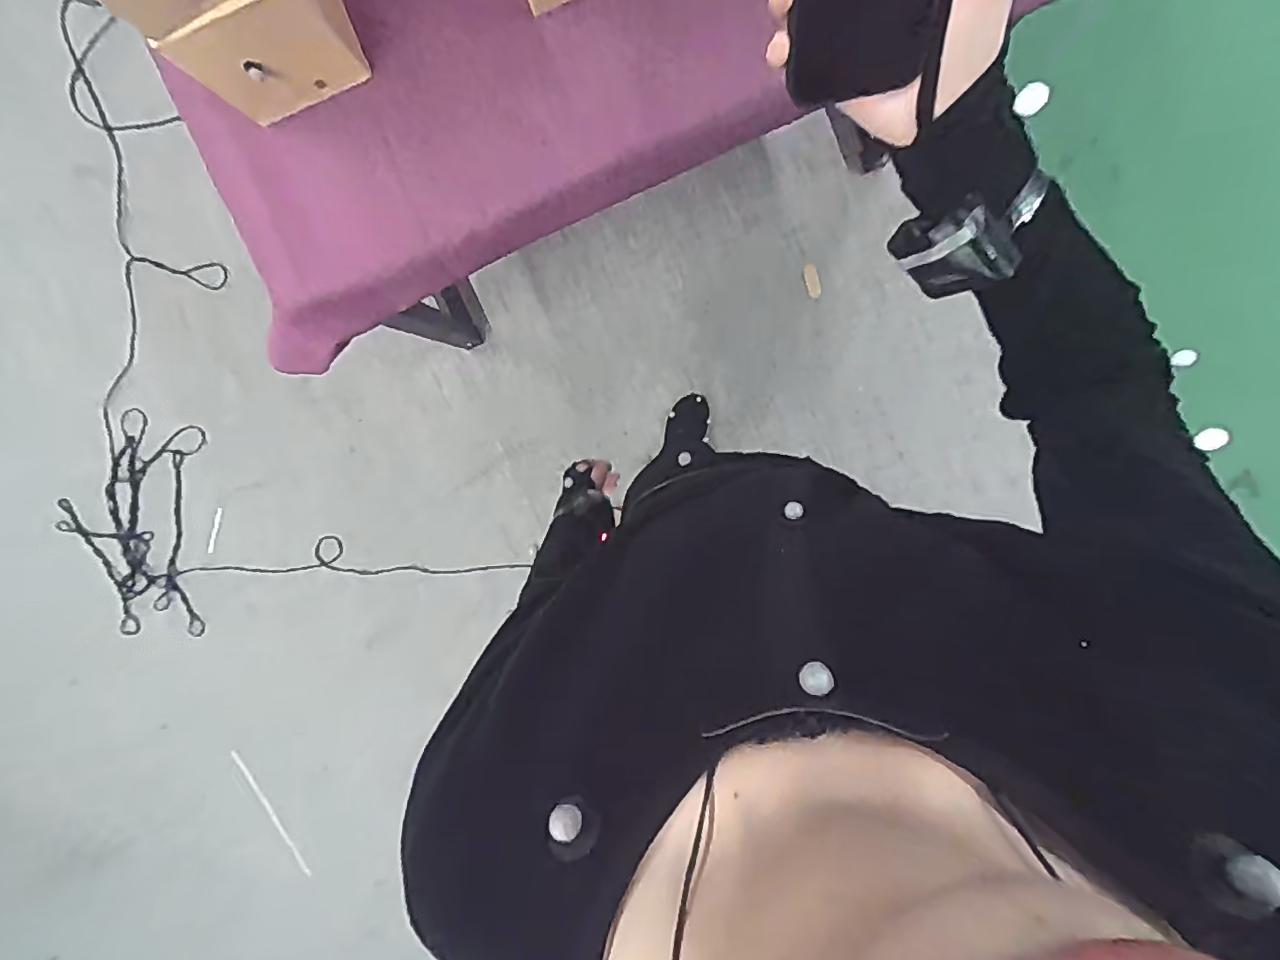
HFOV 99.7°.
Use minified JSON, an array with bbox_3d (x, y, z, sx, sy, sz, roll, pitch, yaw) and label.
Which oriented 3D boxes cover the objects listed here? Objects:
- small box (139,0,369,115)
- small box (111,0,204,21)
[{"bbox_3d":[-0.453,-0.564,0.622,0.168,0.176,0.179,-21,96,5],"label":"small box"},{"bbox_3d":[-0.464,-0.550,0.459,0.168,0.176,0.179,-26,96,5],"label":"small box"}]
